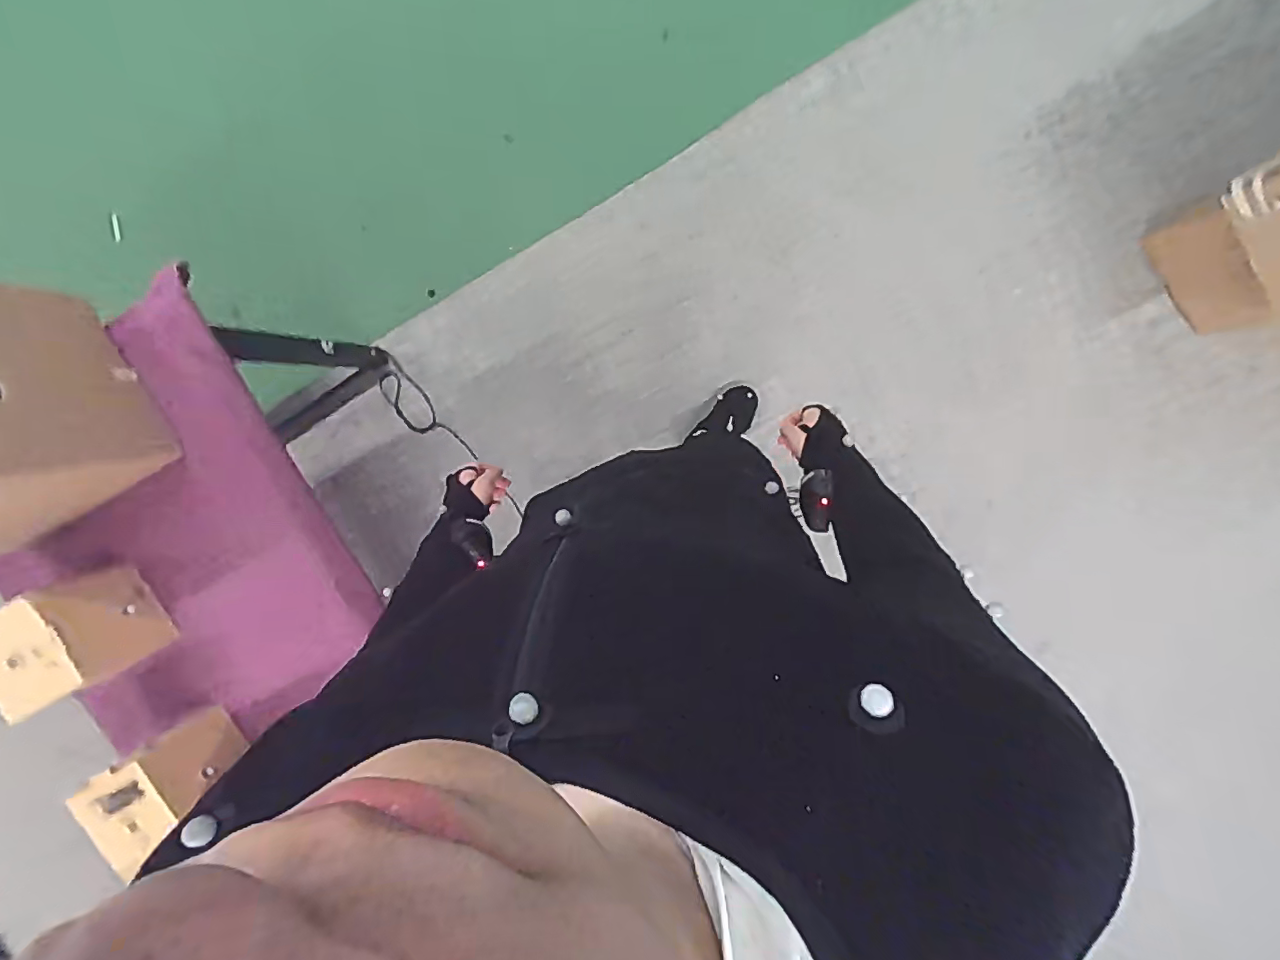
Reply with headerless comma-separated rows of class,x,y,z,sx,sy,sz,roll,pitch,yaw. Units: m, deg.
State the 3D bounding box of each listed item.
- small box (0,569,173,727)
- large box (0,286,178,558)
small box,-0.981,0.280,0.935,0.179,0.176,0.168,-28,97,8
large box,-1.057,-0.063,0.815,0.408,0.320,0.320,-28,98,8
